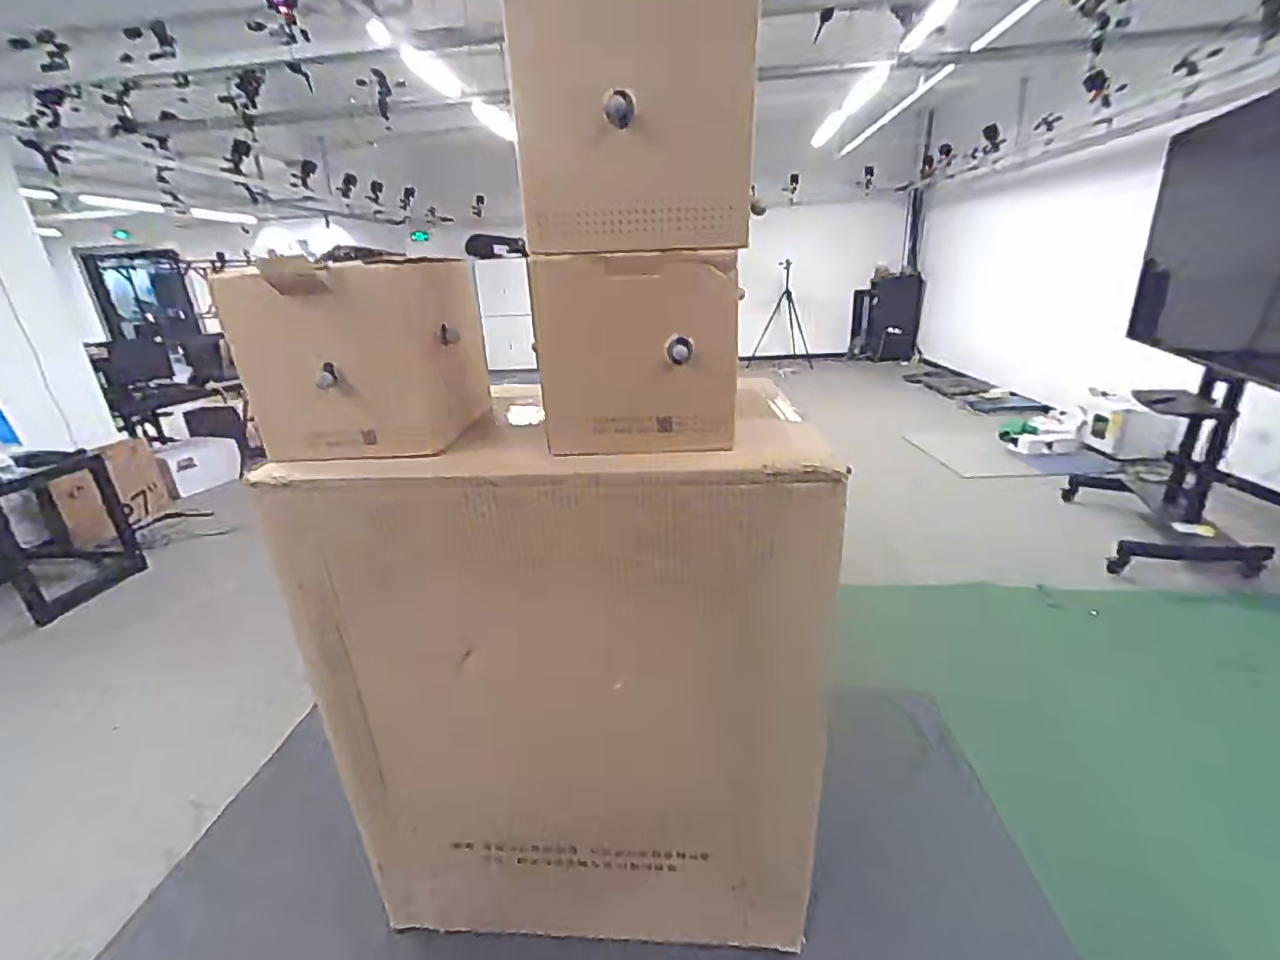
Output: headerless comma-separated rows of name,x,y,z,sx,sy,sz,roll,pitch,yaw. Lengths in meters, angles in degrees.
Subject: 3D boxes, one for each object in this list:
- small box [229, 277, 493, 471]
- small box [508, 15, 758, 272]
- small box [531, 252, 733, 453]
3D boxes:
small box,-0.265,-0.112,0.566,0.168,0.176,0.179,-4,23,2
small box,0.005,-0.265,0.473,0.179,0.176,0.168,1,23,8
small box,0.002,-0.129,0.531,0.168,0.176,0.179,0,22,4
